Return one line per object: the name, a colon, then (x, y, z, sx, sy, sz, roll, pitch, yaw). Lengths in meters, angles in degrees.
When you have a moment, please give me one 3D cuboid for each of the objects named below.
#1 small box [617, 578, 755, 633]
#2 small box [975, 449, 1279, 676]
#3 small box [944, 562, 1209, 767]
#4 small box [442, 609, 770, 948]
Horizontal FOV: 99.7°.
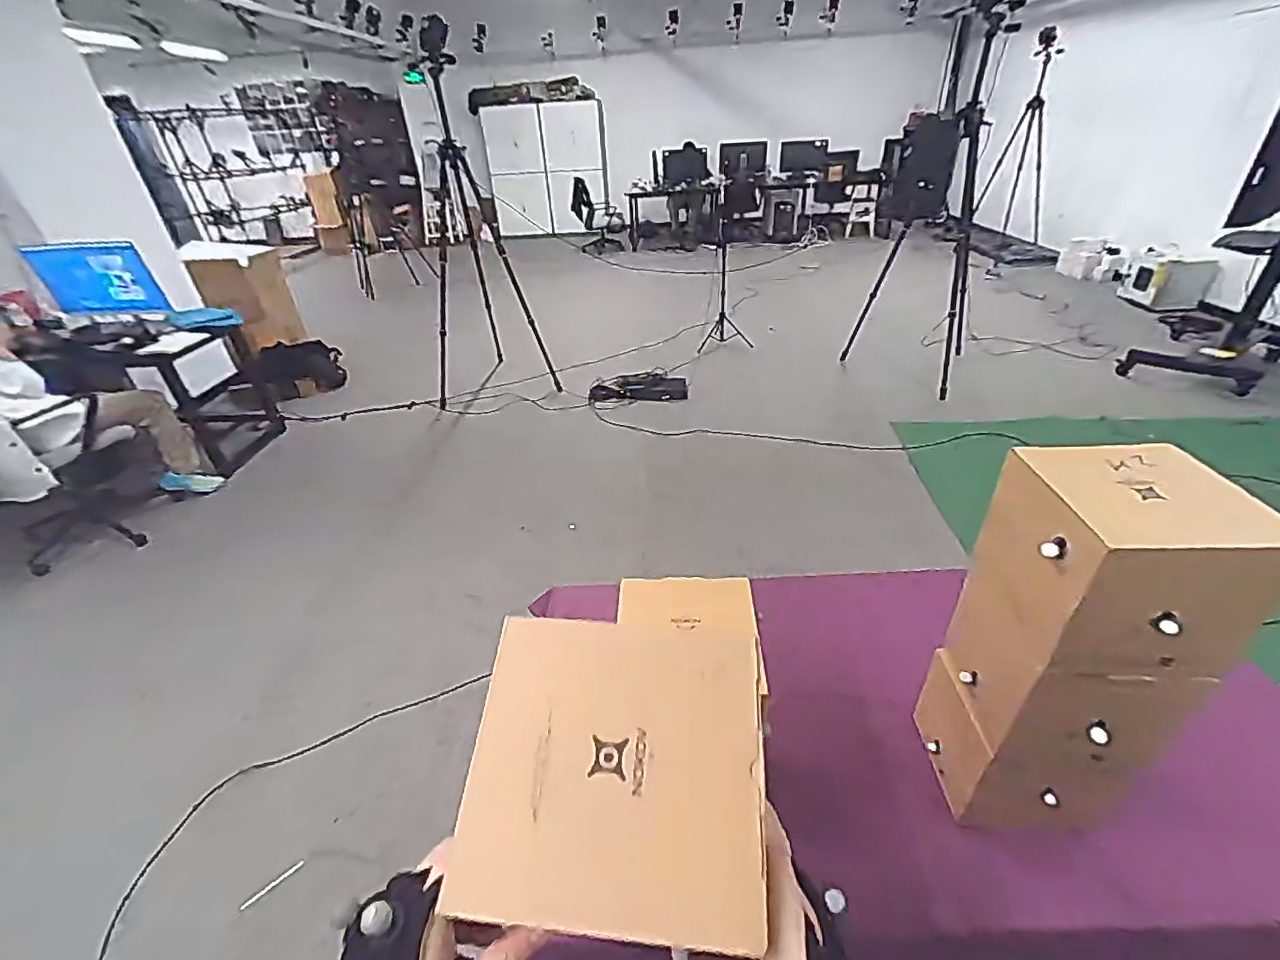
small box: (0.057, 0.244, 0.670, 0.168, 0.176, 0.179, -1, 32, 4)
small box: (0.488, 0.083, 0.565, 0.168, 0.176, 0.179, 0, 33, 6)
small box: (0.500, 0.220, 0.657, 0.168, 0.176, 0.179, 1, 34, 7)
small box: (-0.007, 0.208, 0.390, 0.179, 0.176, 0.168, 2, 55, 7)
